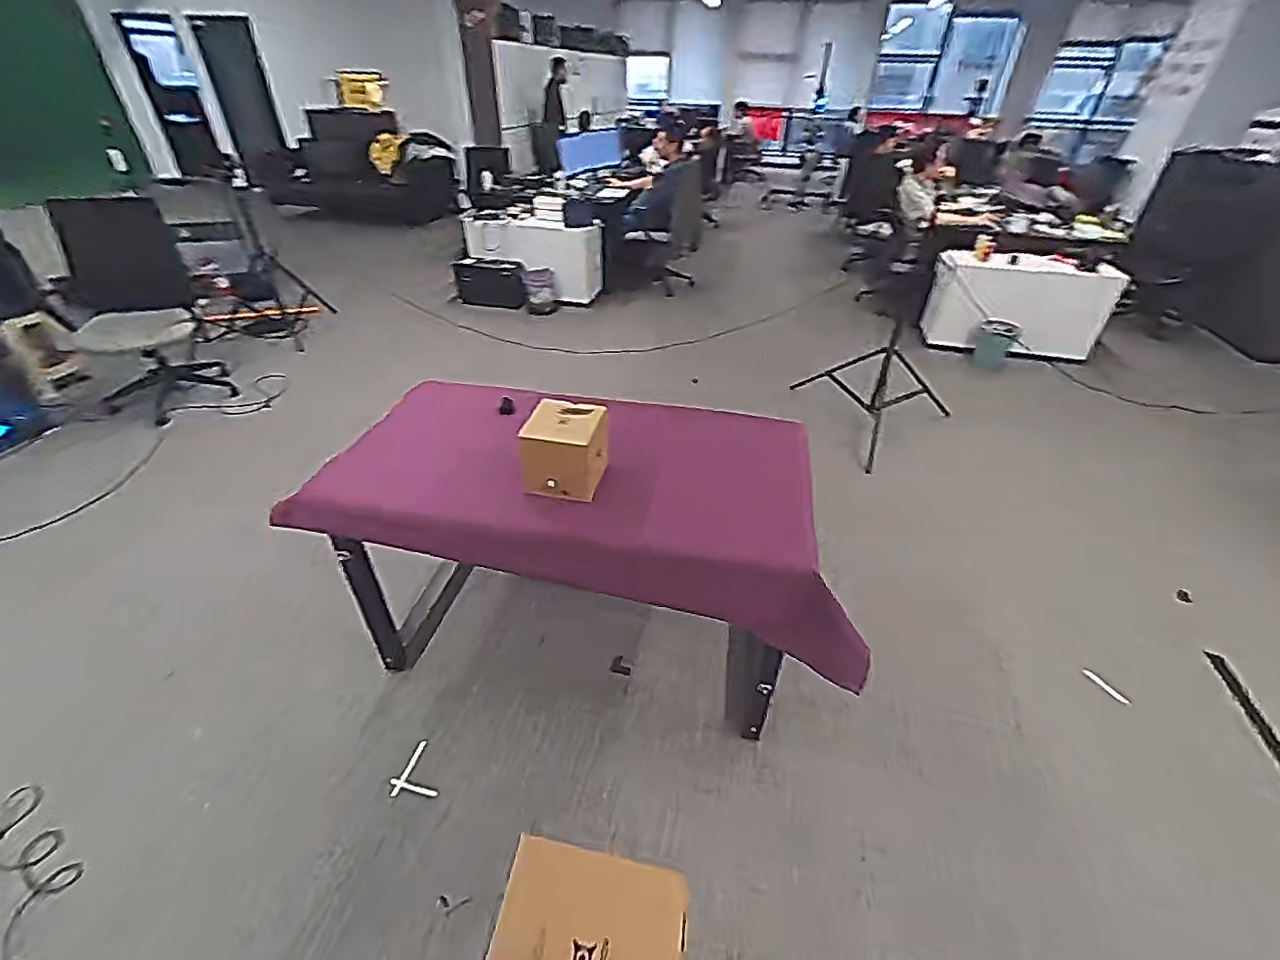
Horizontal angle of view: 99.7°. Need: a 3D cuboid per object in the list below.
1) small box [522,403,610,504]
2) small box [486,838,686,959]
[{"bbox_3d":[-0.175,-0.067,1.322,0.168,0.176,0.179,8,38,9],"label":"small box"},{"bbox_3d":[-0.061,0.492,0.533,0.179,0.176,0.168,12,37,1],"label":"small box"}]
